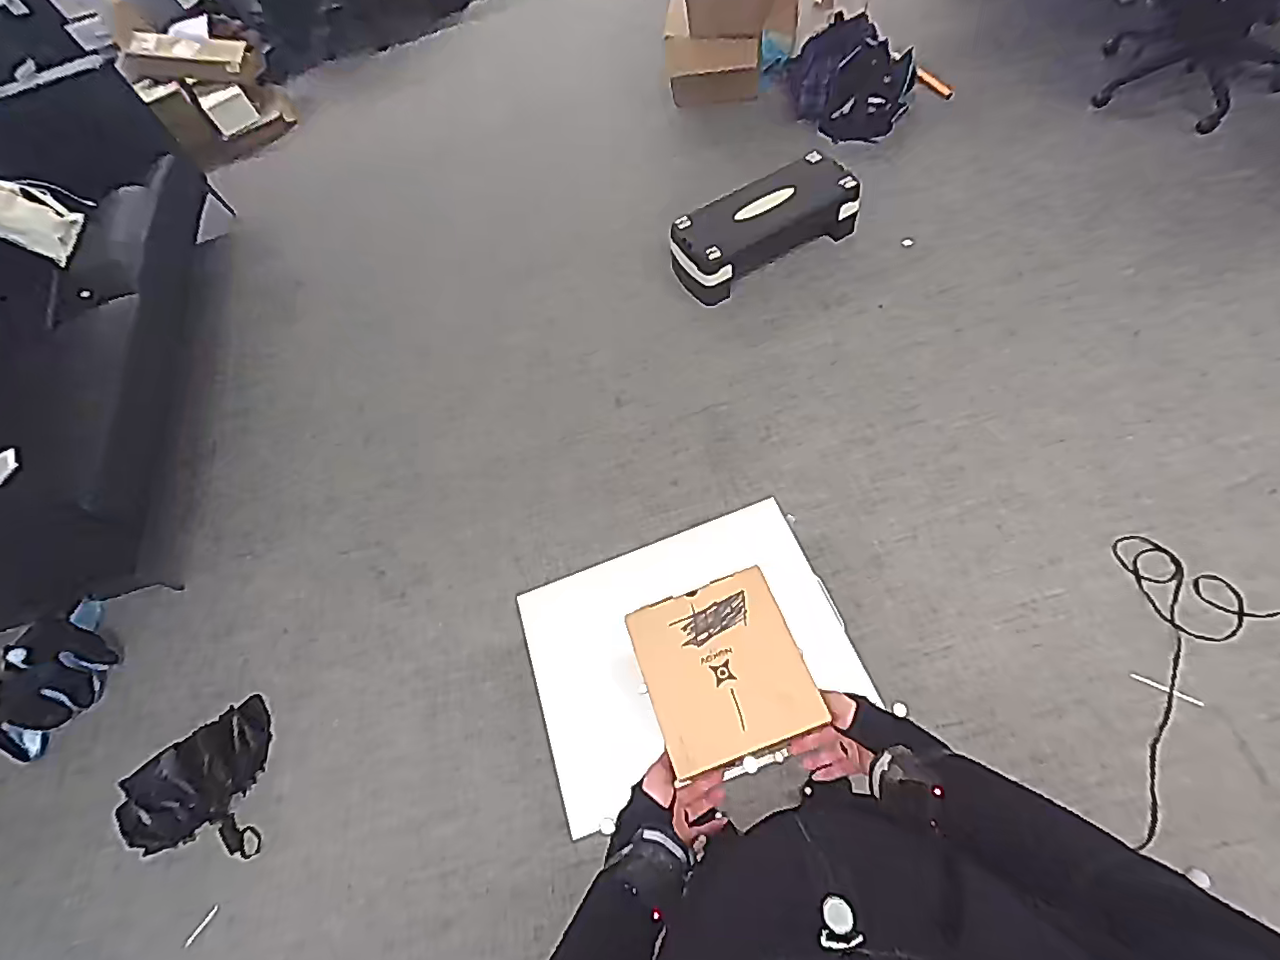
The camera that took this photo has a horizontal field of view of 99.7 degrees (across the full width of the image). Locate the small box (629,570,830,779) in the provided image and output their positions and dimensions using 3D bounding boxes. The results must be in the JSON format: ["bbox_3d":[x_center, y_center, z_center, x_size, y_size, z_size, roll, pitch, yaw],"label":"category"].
[{"bbox_3d":[0.098,0.236,0.644,0.168,0.176,0.179,-20,61,-1],"label":"small box"}]
